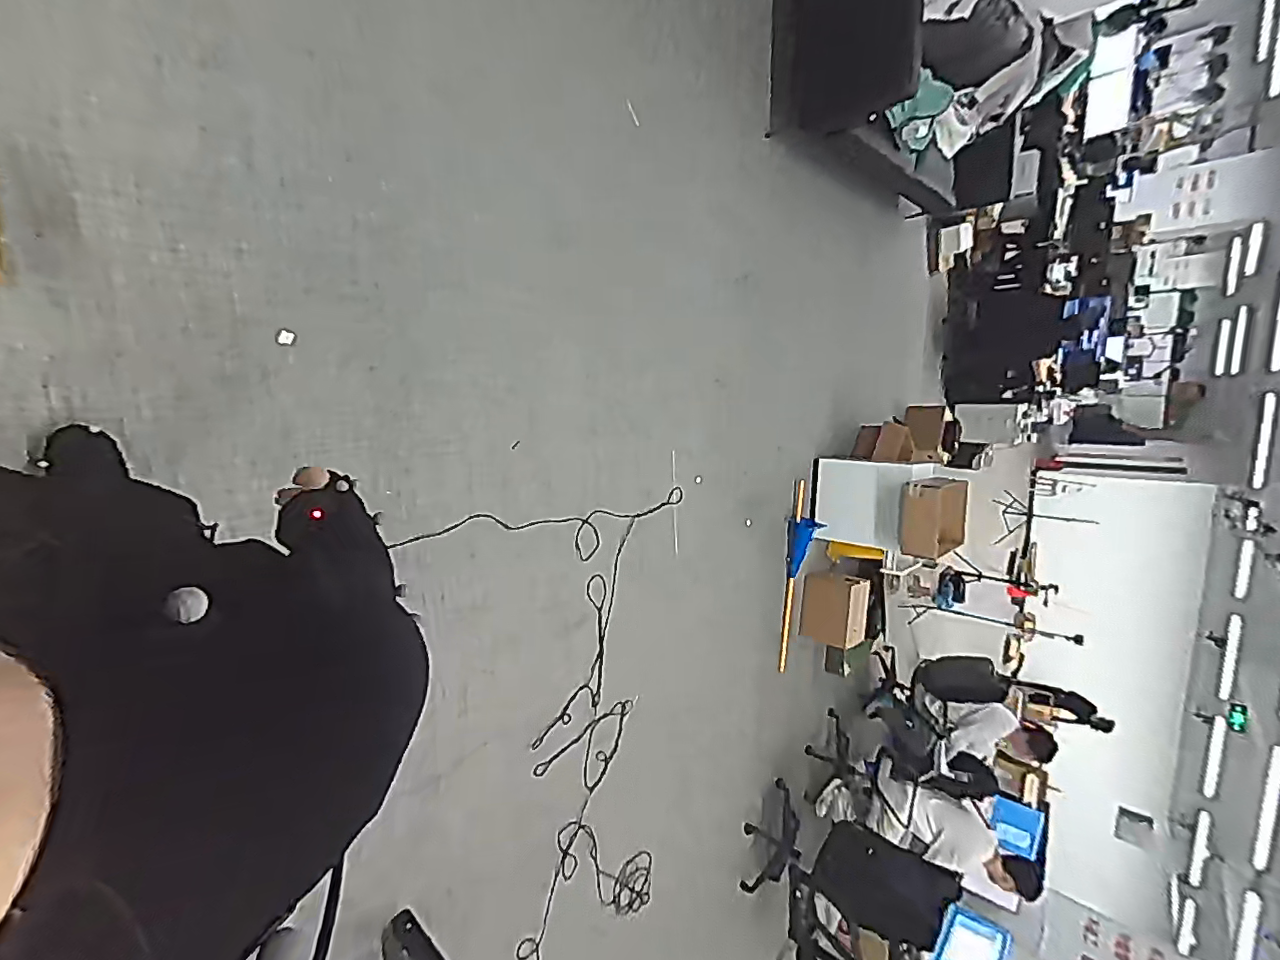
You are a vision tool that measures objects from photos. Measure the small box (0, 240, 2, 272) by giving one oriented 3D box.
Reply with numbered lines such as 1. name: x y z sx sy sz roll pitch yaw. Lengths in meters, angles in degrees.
1. small box: -1.133 -0.429 0.844 0.168 0.176 0.179 -4 100 -47
